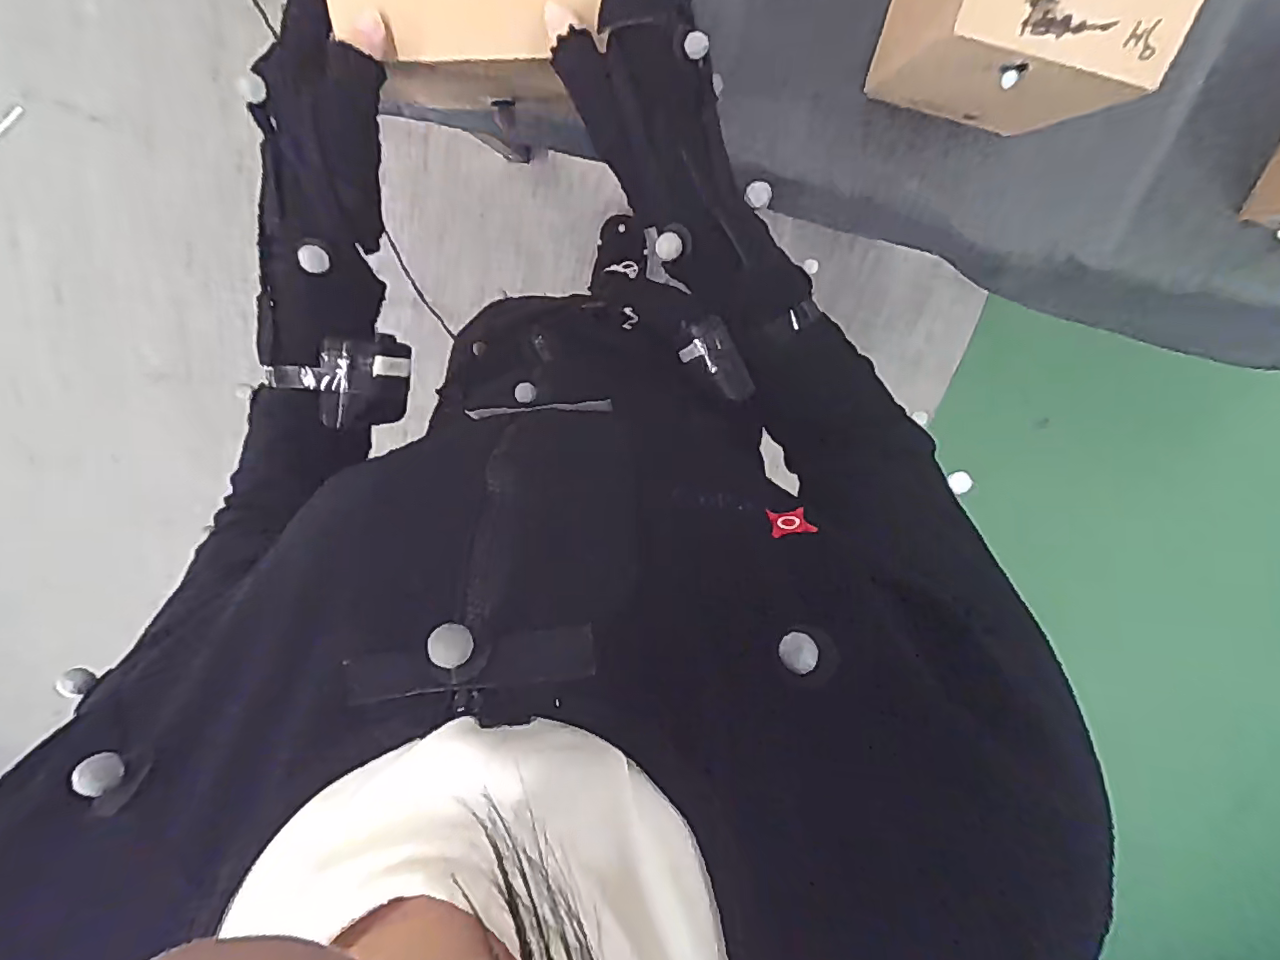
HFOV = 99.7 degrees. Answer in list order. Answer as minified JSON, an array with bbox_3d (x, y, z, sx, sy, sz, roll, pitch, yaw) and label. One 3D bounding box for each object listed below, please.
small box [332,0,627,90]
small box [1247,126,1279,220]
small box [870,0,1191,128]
[{"bbox_3d":[-0.096,-0.369,0.342,0.168,0.176,0.179,-3,118,-1],"label":"small box"},{"bbox_3d":[0.726,-0.316,0.479,0.168,0.176,0.179,13,111,-5],"label":"small box"},{"bbox_3d":[0.314,-0.417,0.434,0.168,0.176,0.179,12,112,-5],"label":"small box"}]
